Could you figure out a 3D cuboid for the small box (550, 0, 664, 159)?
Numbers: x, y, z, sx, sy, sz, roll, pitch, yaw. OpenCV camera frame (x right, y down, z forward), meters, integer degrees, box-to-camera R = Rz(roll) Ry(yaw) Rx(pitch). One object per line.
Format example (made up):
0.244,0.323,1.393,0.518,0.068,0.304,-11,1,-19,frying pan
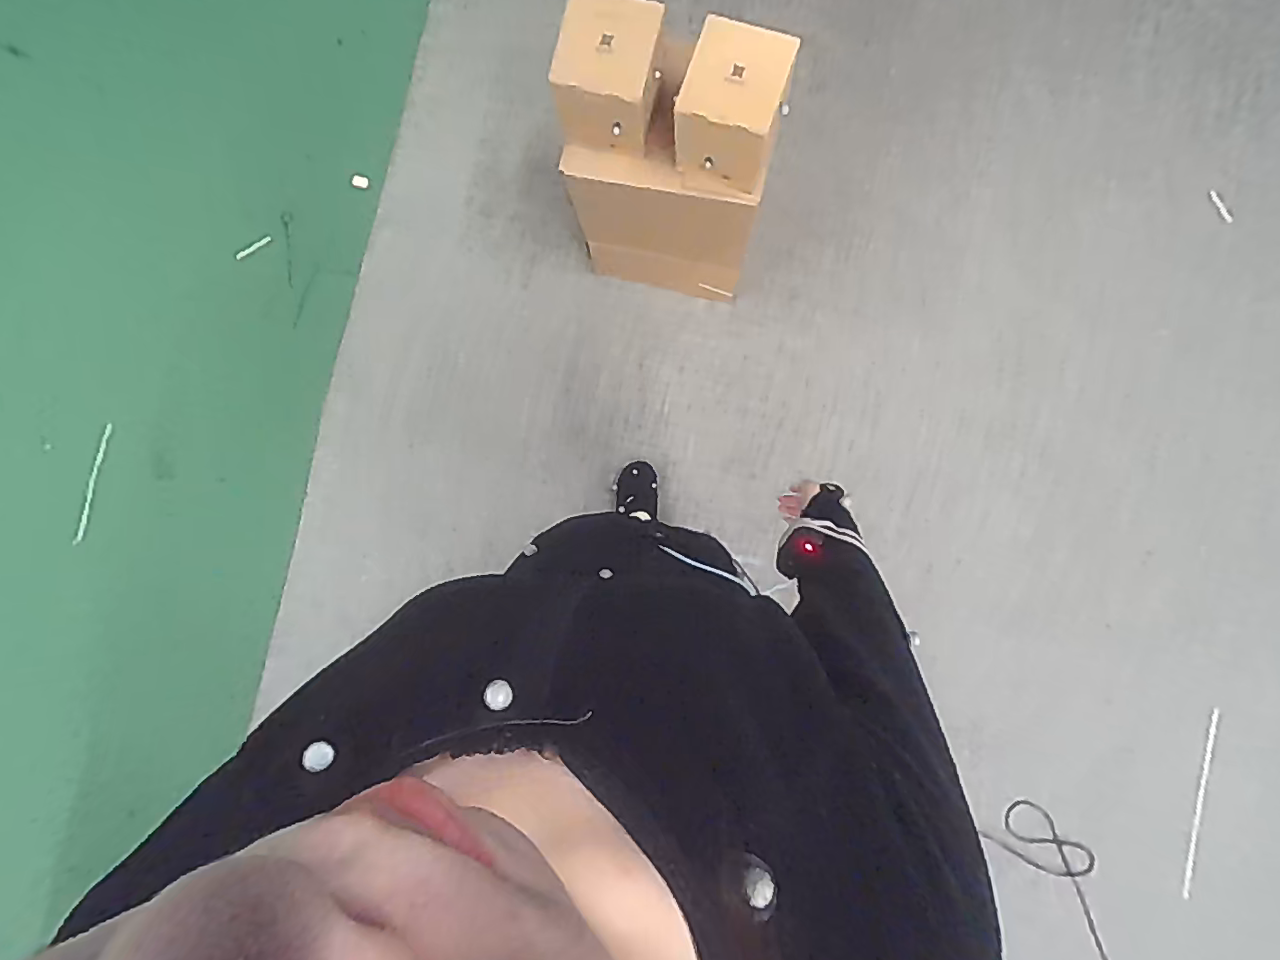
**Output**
-0.054,-0.738,1.005,0.168,0.176,0.179,14,89,2,small box

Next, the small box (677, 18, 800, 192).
0.170,-0.670,0.985,0.168,0.176,0.179,19,89,6,small box
